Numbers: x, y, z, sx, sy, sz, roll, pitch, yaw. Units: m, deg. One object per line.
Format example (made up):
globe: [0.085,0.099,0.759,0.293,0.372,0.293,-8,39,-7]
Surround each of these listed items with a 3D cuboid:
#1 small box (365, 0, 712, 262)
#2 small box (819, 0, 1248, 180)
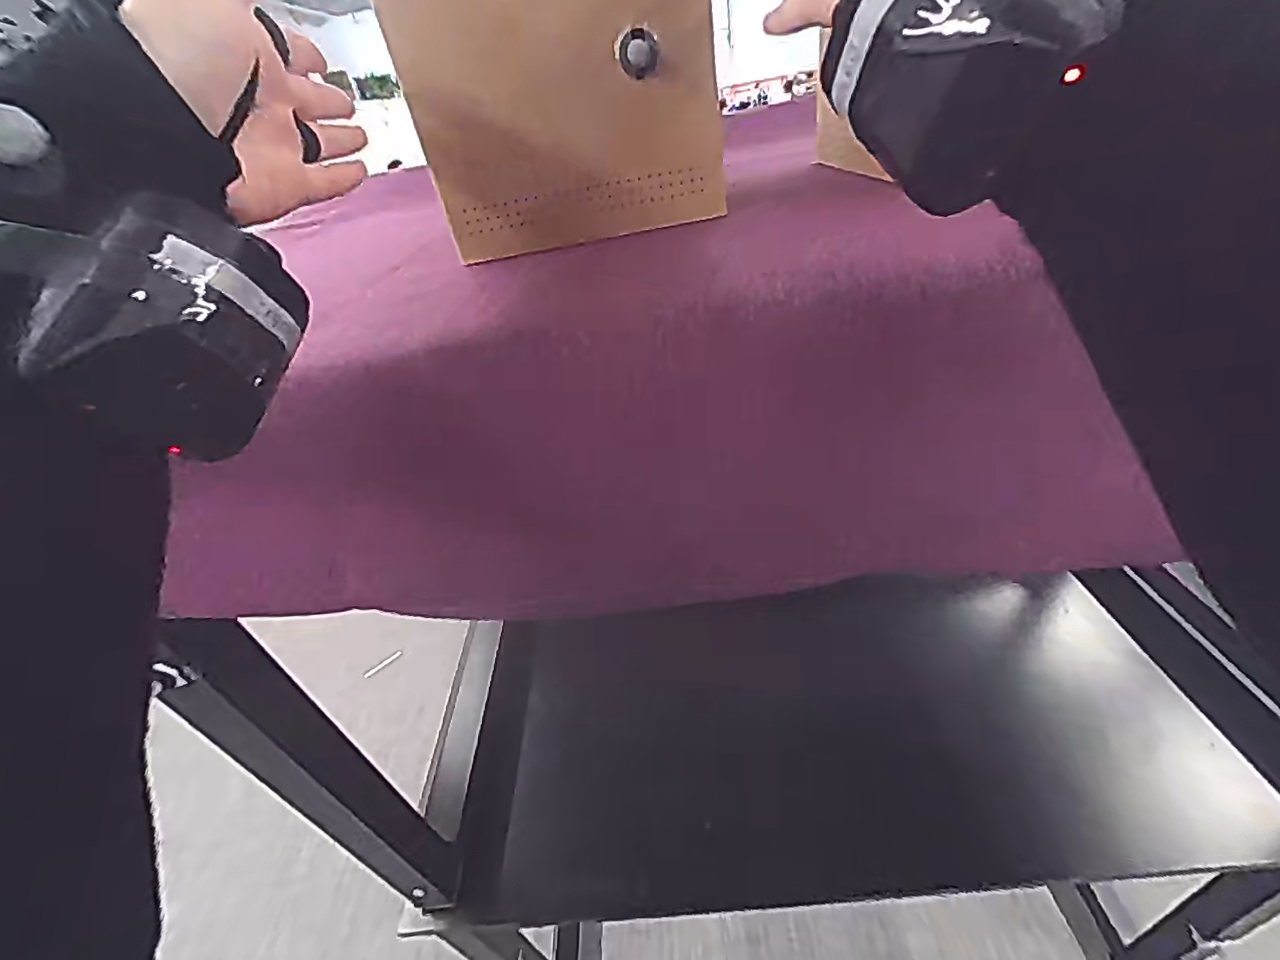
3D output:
small box: [-0.051,-0.262,0.358,0.179,0.176,0.168,-10,35,2]
small box: [0.218,-0.291,0.322,0.168,0.176,0.179,-11,35,0]
